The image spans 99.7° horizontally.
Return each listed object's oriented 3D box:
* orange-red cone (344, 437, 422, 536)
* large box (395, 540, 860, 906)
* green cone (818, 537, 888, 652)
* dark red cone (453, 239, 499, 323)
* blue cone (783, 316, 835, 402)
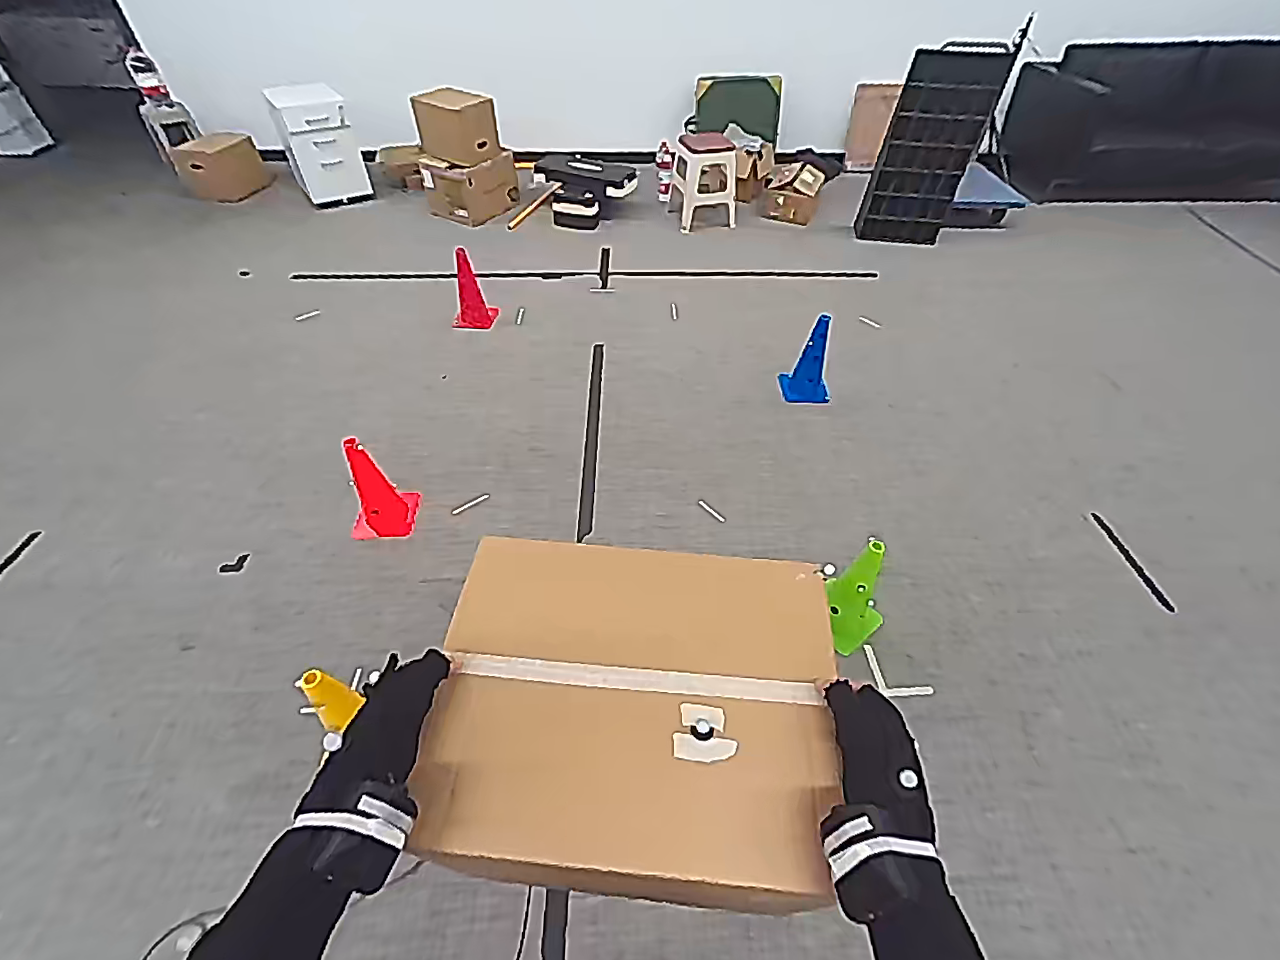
[{"bbox_3d":[-0.877,0.000,1.766,0.198,0.360,0.199,-3,49,-2],"label":"orange-red cone"},{"bbox_3d":[-0.006,0.299,0.661,0.408,0.320,0.320,5,50,3],"label":"large box"},{"bbox_3d":[0.614,0.288,1.523,0.202,0.368,0.200,-29,55,-27],"label":"green cone"},{"bbox_3d":[-0.827,-0.969,2.632,0.201,0.394,0.202,5,47,2],"label":"dark red cone"},{"bbox_3d":[0.749,-0.523,2.301,0.192,0.380,0.193,3,47,0],"label":"blue cone"}]
